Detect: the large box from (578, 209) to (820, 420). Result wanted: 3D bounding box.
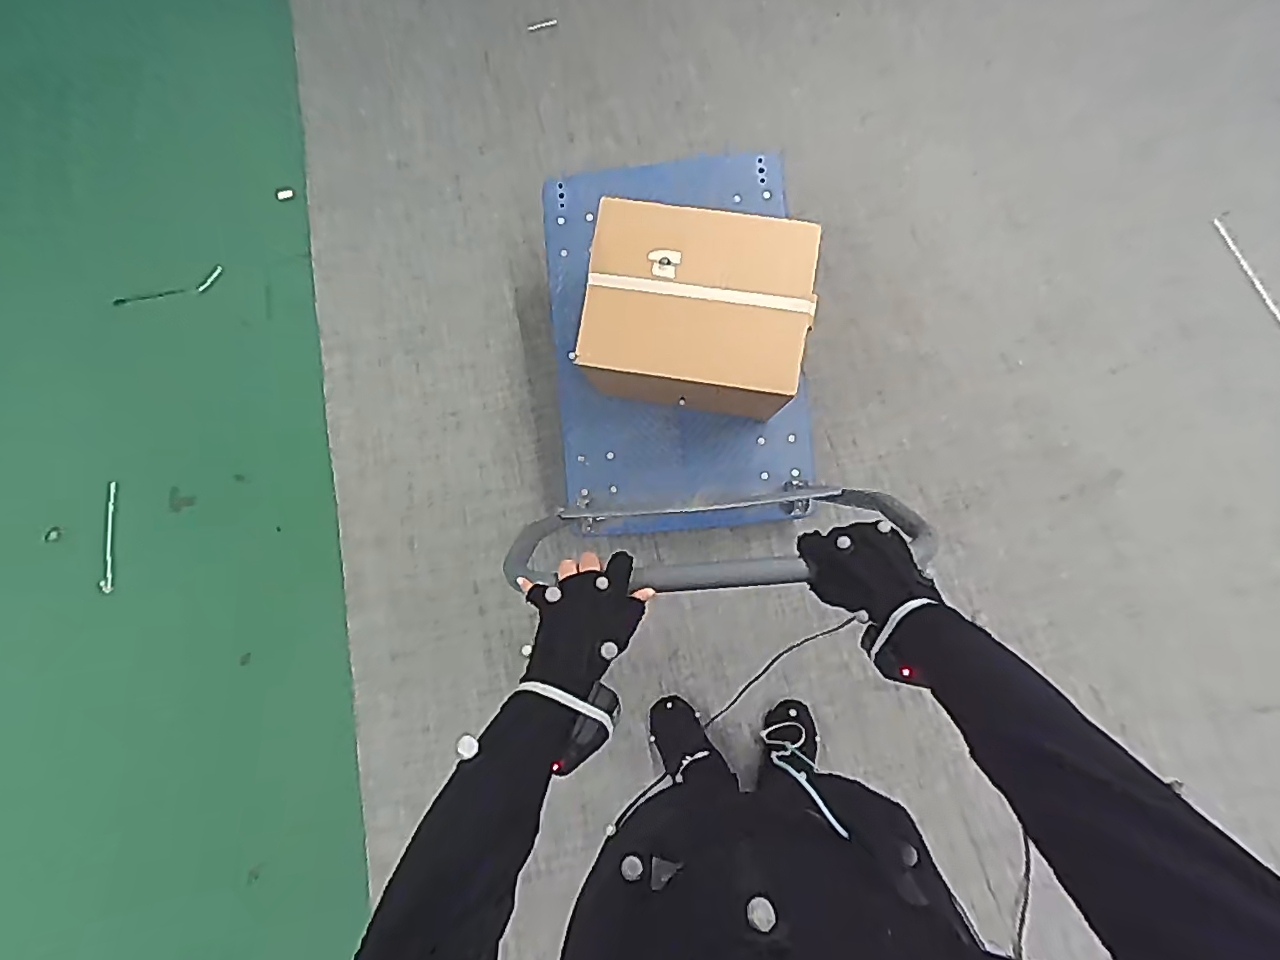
[{"bbox_3d":[0.118,-0.316,1.119,0.408,0.320,0.320,9,89,5],"label":"large box"}]
